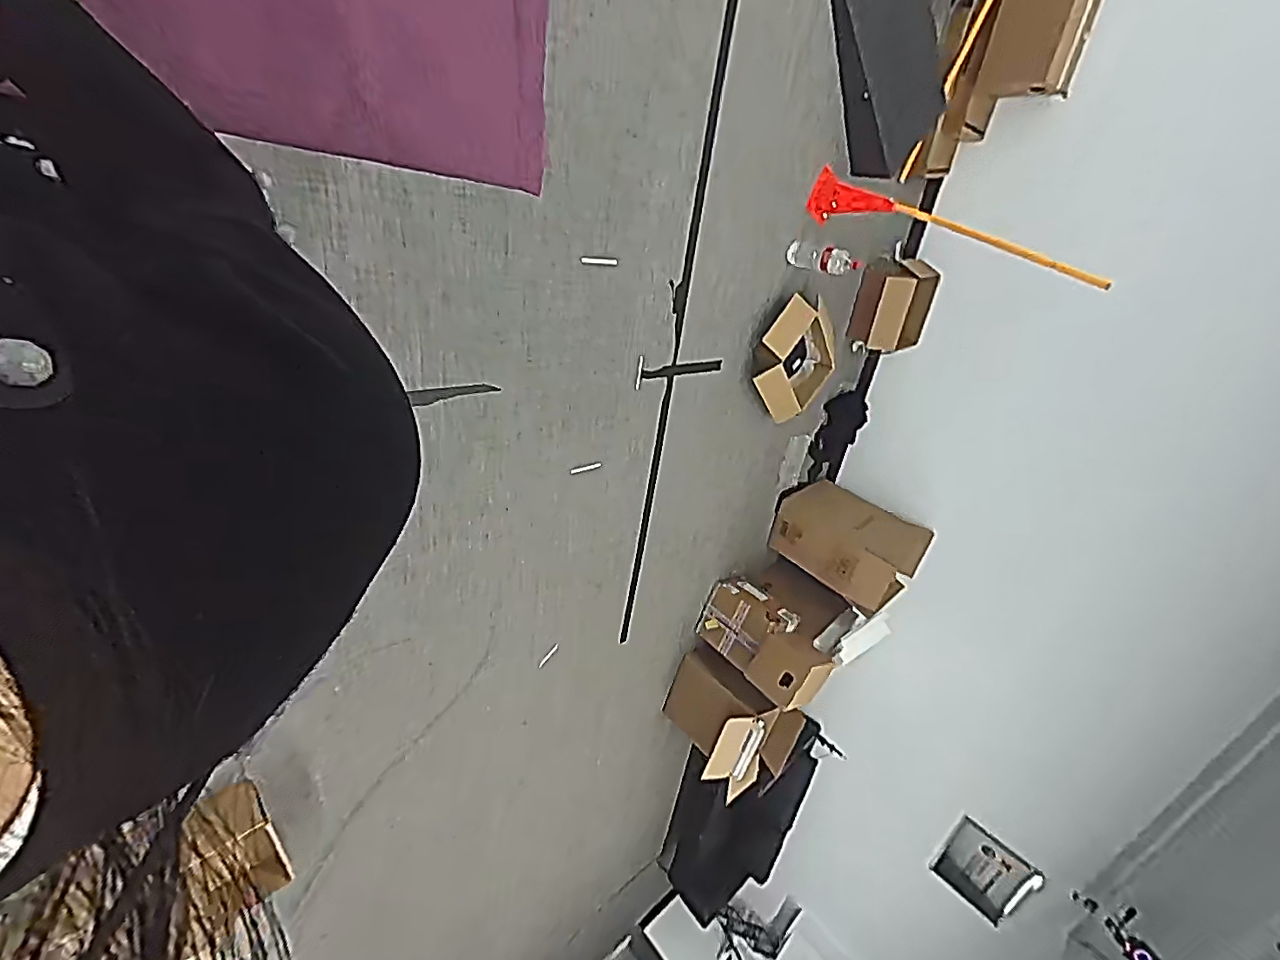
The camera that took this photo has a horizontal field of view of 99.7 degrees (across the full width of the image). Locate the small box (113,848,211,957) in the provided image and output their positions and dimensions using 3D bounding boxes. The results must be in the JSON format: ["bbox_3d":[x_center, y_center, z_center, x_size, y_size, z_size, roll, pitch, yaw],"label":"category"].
[{"bbox_3d":[-1.431,1.256,1.619,0.168,0.176,0.179,-27,133,-35],"label":"small box"}]
